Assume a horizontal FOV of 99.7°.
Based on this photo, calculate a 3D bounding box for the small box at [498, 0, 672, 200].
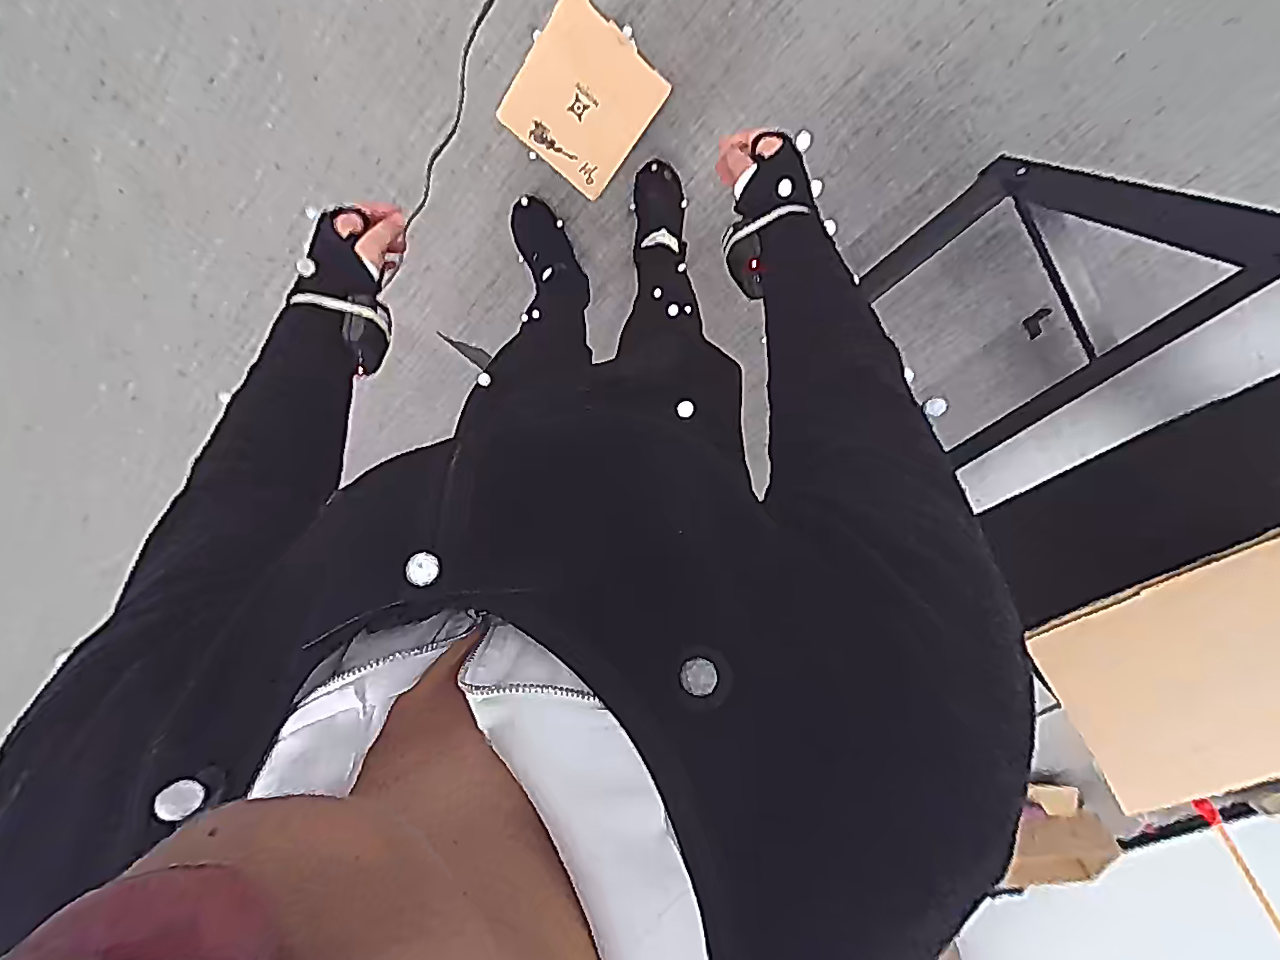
[{"bbox_3d":[-0.078,-0.543,0.773,0.168,0.176,0.179,33,117,-23],"label":"small box"}]
